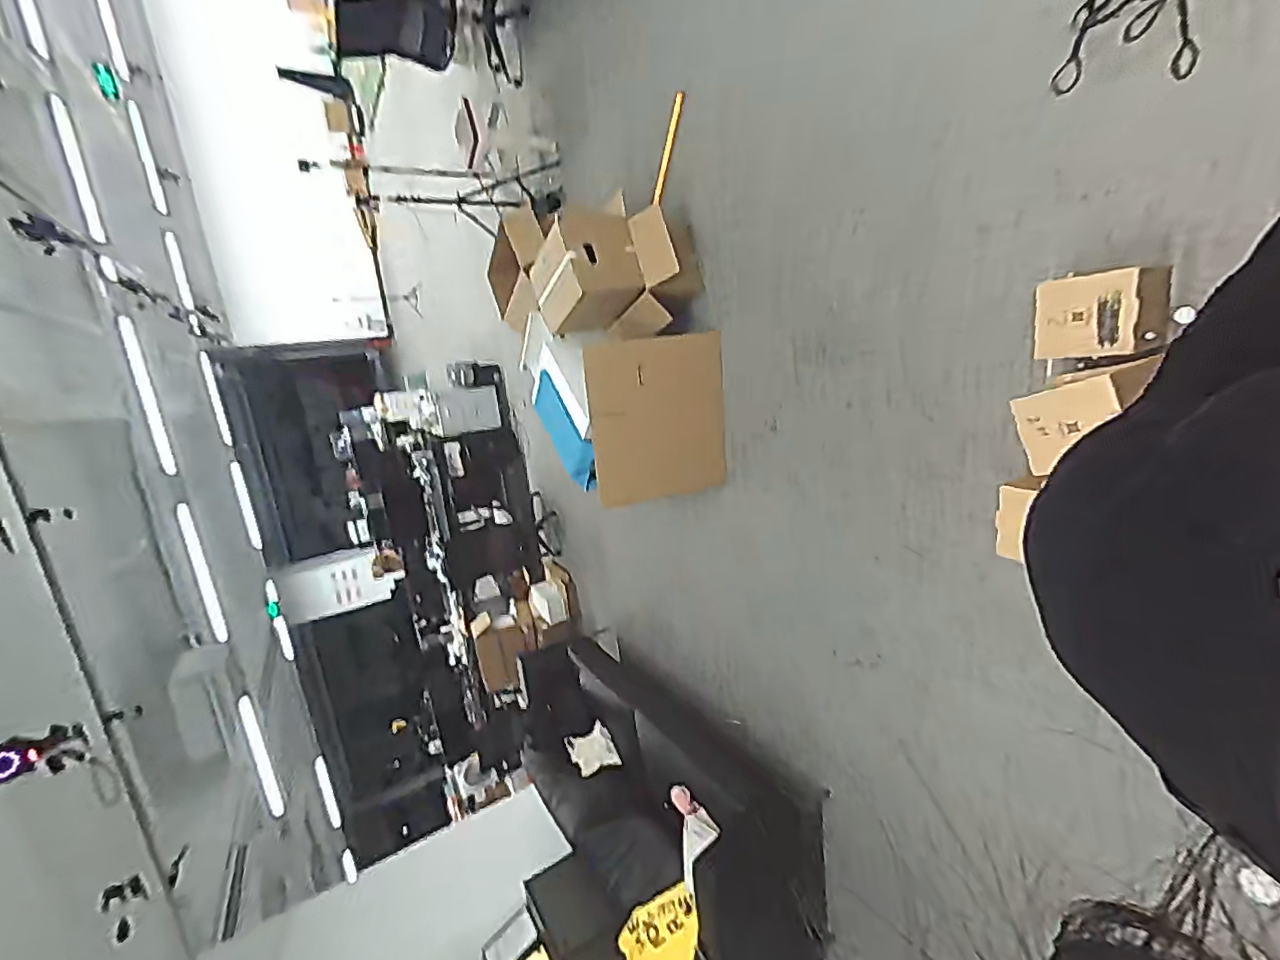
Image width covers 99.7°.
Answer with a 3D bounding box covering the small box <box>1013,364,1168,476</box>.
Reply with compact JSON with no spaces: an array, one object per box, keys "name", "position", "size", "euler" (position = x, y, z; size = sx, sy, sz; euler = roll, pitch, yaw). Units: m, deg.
[{"name":"small box","position":[0.896,-0.118,1.073],"size":[0.179,0.176,0.168],"euler":[-21,85,62]}]
